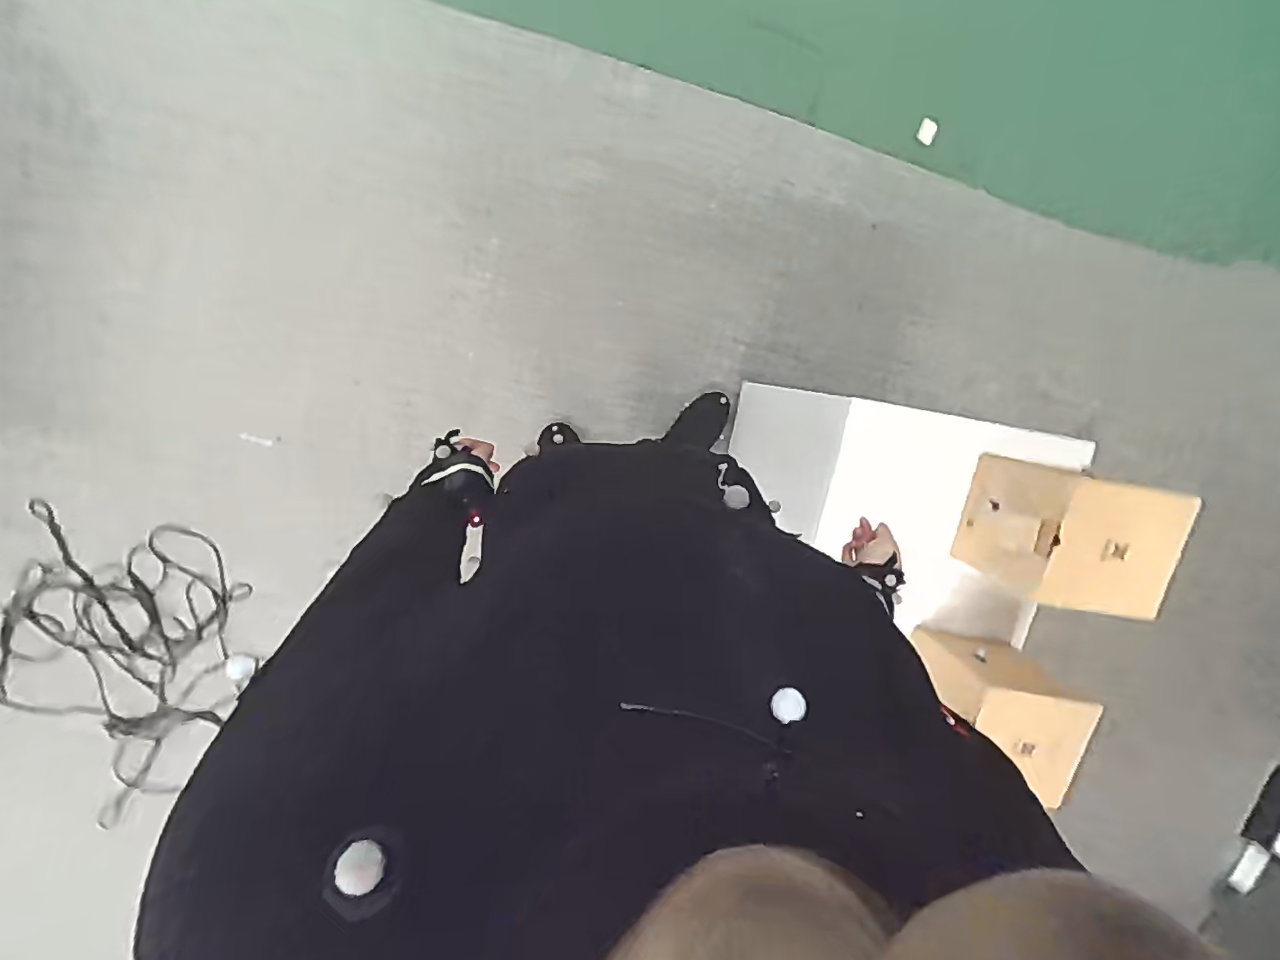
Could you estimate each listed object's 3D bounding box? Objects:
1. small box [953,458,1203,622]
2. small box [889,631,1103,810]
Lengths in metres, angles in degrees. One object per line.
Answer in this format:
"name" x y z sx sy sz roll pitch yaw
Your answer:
"small box" 0.581 0.073 0.744 0.179 0.176 0.168 9 102 -6
"small box" 0.505 0.342 0.798 0.179 0.176 0.168 12 102 -8
